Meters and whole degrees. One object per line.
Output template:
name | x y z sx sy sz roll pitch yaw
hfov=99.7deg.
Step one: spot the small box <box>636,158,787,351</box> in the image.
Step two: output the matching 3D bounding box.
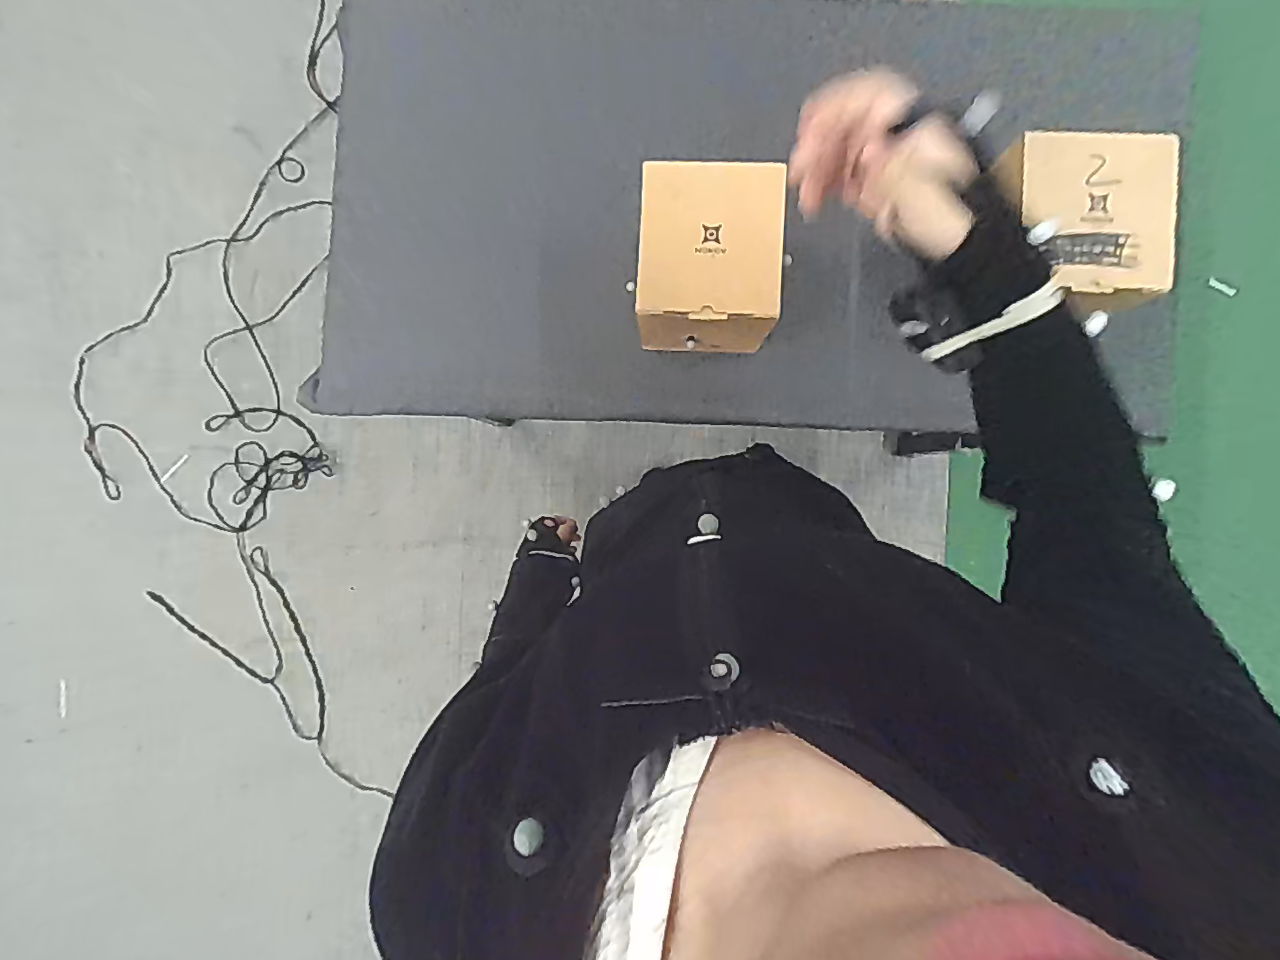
small box | 0.082 -0.275 0.692 0.168 0.176 0.179 2 91 2
